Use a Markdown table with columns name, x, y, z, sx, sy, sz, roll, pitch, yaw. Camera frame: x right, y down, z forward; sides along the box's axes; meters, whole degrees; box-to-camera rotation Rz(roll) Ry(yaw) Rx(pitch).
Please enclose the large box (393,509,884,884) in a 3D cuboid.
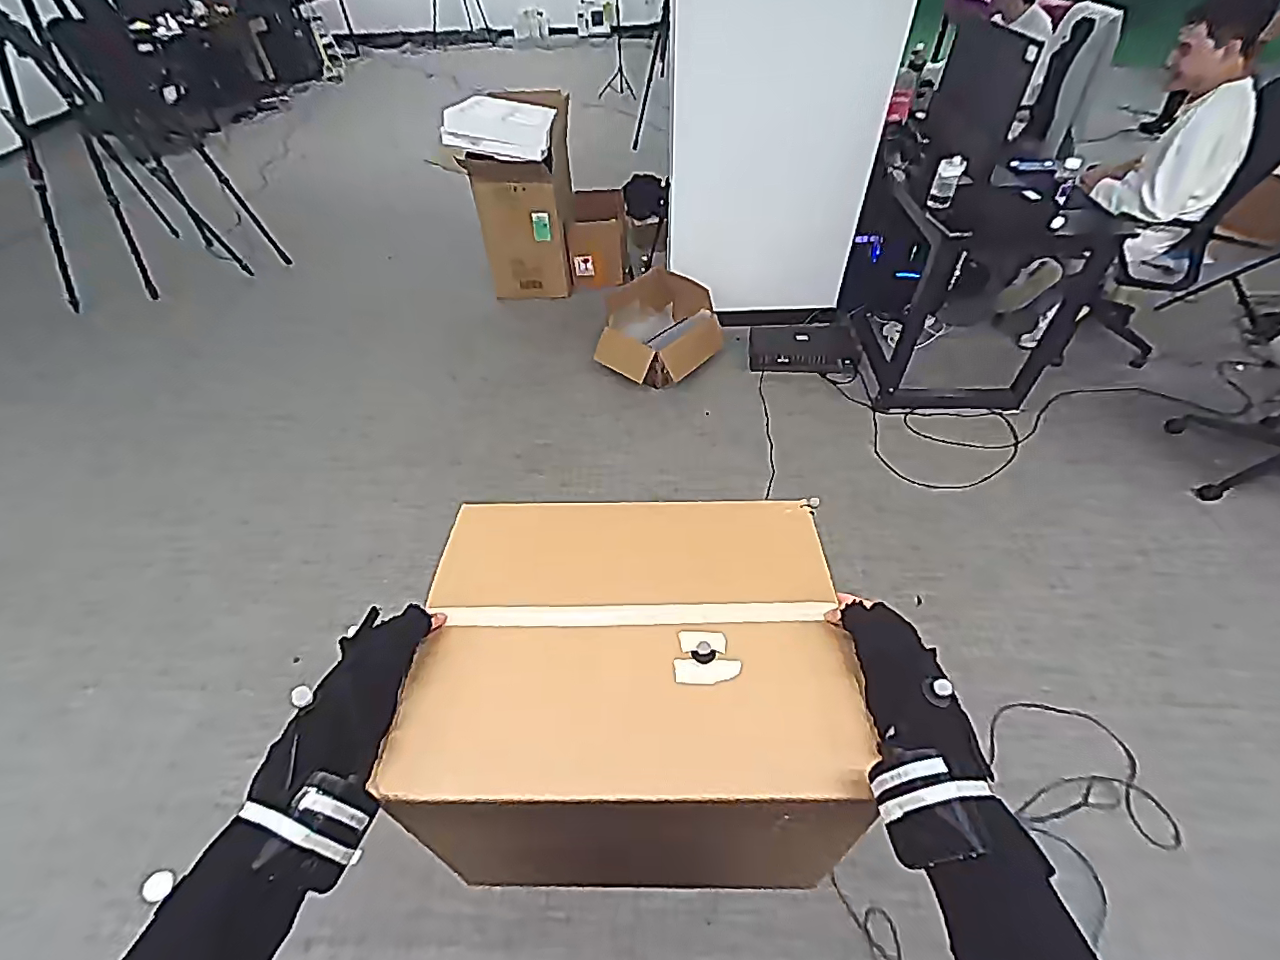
| name | x | y | z | sx | sy | sz | roll | pitch | yaw |
| --- | --- | --- | --- | --- | --- | --- | --- | --- | --- |
| large box | 0.000 | 0.251 | 0.638 | 0.408 | 0.320 | 0.320 | 0 | 43 | 1 |
